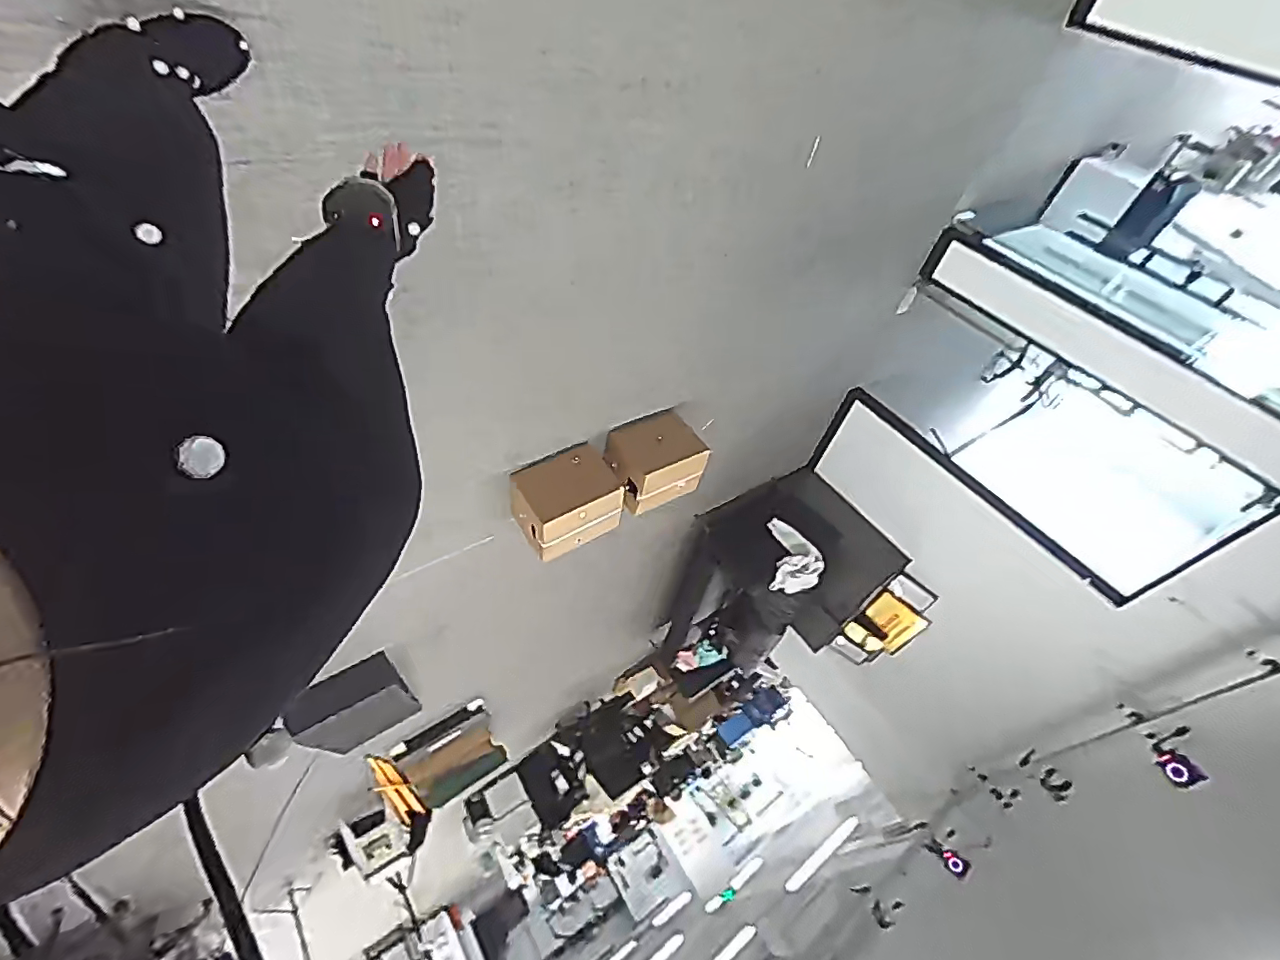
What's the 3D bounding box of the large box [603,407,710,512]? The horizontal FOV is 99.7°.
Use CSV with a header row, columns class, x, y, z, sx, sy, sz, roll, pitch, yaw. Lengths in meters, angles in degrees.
class,x,y,z,sx,sy,sz,roll,pitch,yaw
large box,0.069,-0.109,2.688,0.408,0.320,0.320,-23,149,-30
